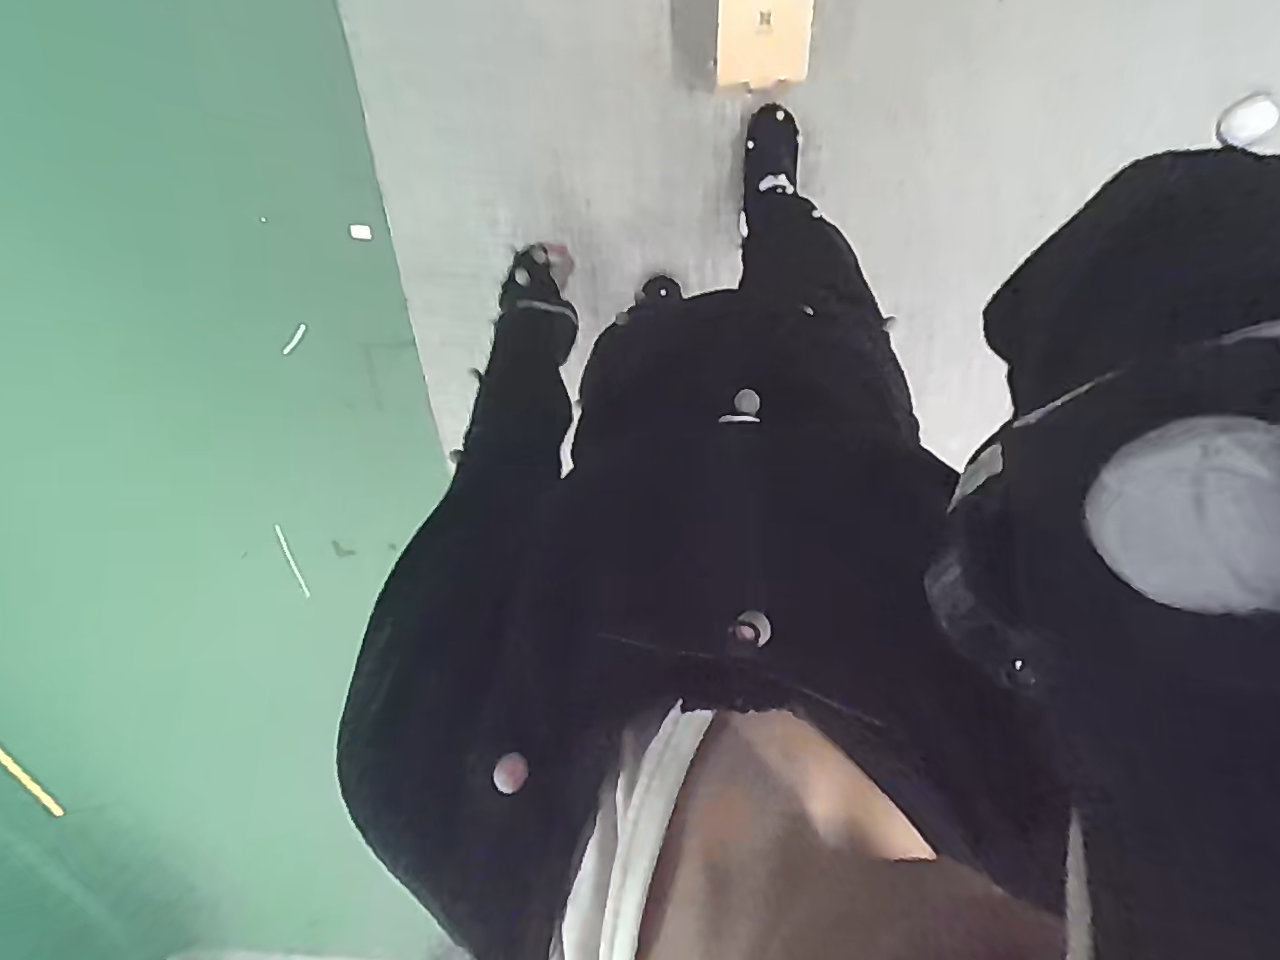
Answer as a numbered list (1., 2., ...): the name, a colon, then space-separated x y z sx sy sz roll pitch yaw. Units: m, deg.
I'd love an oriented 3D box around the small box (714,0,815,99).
1. small box: 0.228 -0.846 1.031 0.168 0.176 0.179 0 120 5
